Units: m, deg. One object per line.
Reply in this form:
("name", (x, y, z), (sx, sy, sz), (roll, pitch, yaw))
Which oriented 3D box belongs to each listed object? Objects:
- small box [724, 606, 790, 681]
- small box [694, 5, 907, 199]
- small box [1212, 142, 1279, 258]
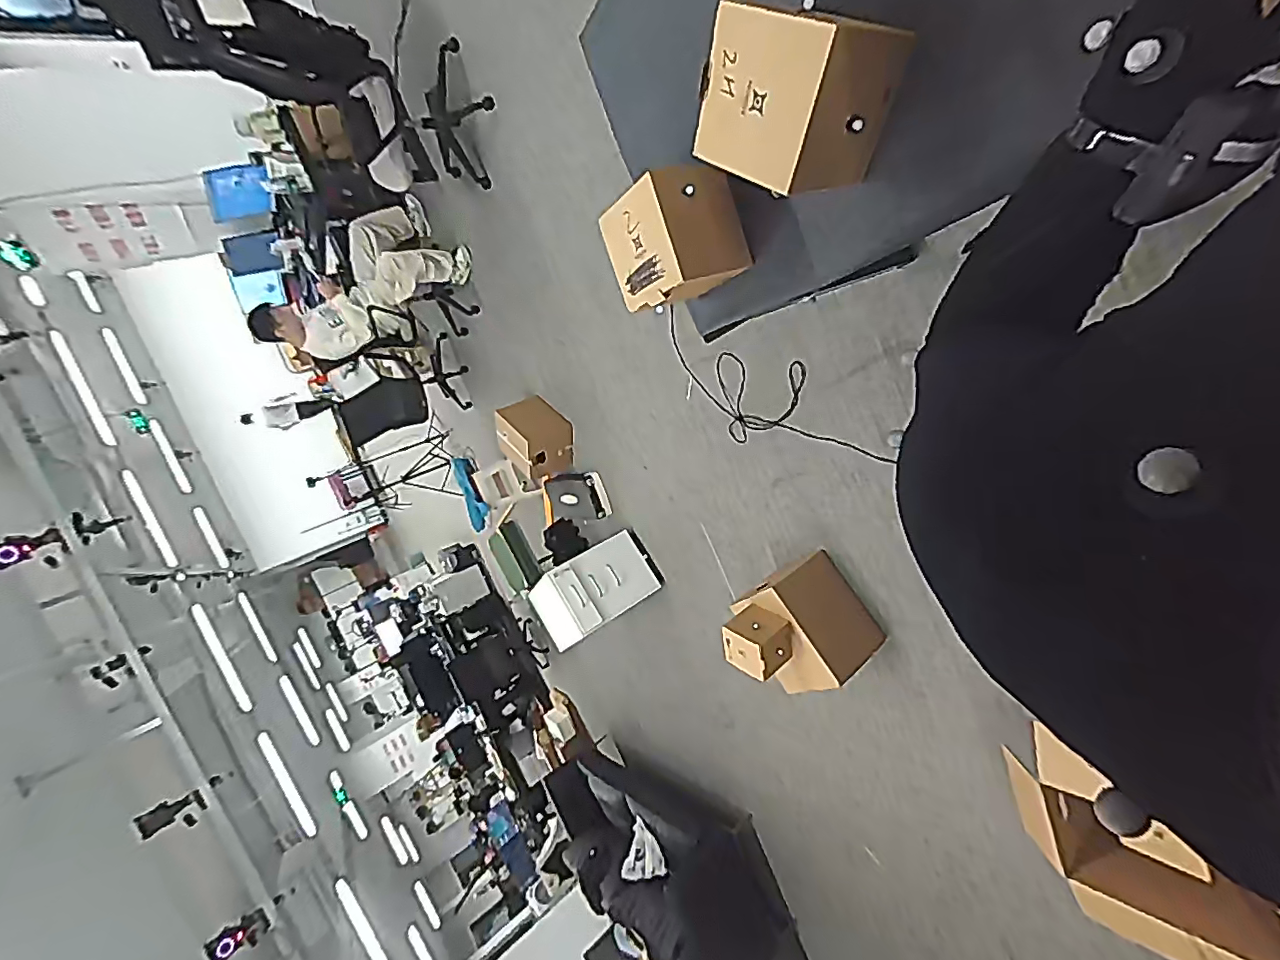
("small box", (0.430, 0.583, 1.958), (0.179, 0.176, 0.168), (17, 125, 48))
("small box", (0.201, -0.485, 0.695), (0.179, 0.176, 0.168), (44, 143, 30))
("small box", (1.067, -0.436, 0.816), (0.176, 0.168, 0.179), (26, 113, 6))
